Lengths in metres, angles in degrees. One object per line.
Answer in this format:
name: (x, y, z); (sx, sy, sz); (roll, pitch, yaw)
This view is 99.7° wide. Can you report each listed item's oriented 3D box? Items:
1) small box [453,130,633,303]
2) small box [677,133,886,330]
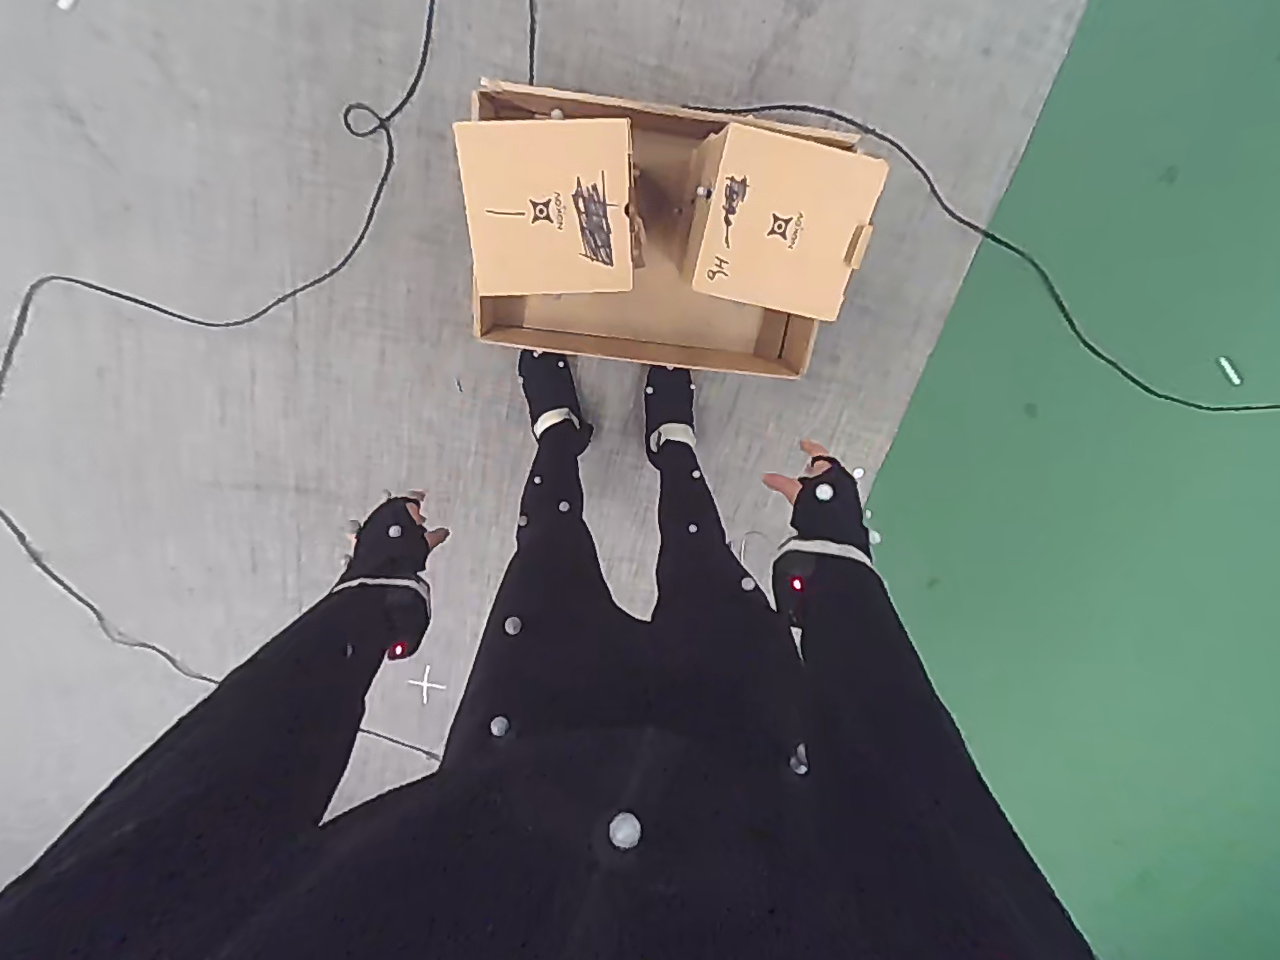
small box: (-0.101, -0.309, 0.642); (0.179, 0.176, 0.168); (-3, 116, -1)
small box: (0.152, -0.294, 0.652); (0.179, 0.176, 0.168); (11, 114, -6)
